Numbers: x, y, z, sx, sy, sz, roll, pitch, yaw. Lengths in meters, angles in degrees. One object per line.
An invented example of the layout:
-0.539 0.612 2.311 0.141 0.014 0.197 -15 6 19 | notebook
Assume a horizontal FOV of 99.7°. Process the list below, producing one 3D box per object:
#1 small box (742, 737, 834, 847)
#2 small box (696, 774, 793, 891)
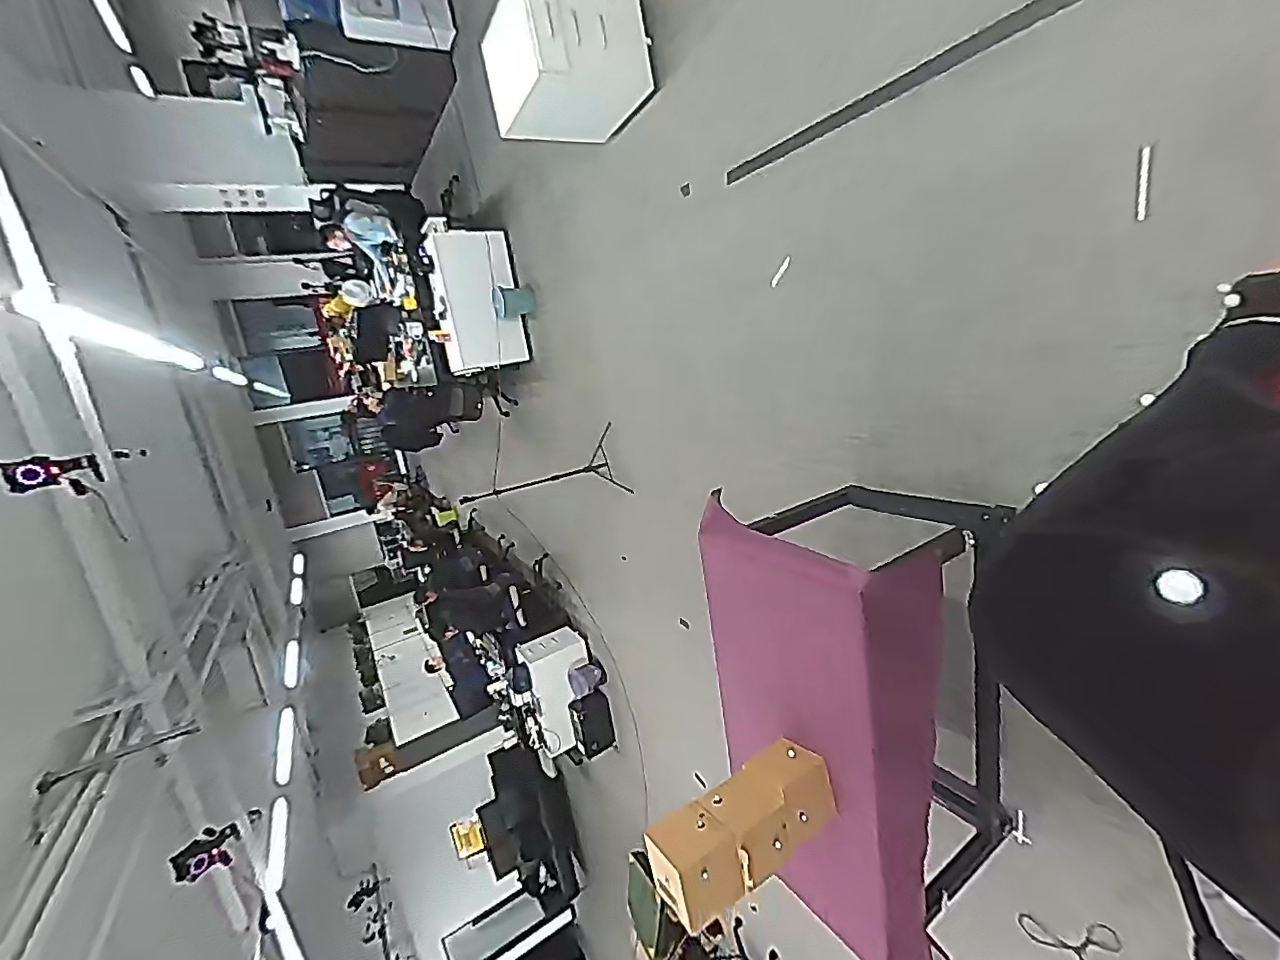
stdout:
0.417 0.862 1.511 0.168 0.176 0.179 -7 98 61 | small box
0.278 0.923 1.443 0.179 0.176 0.168 4 109 60 | small box
